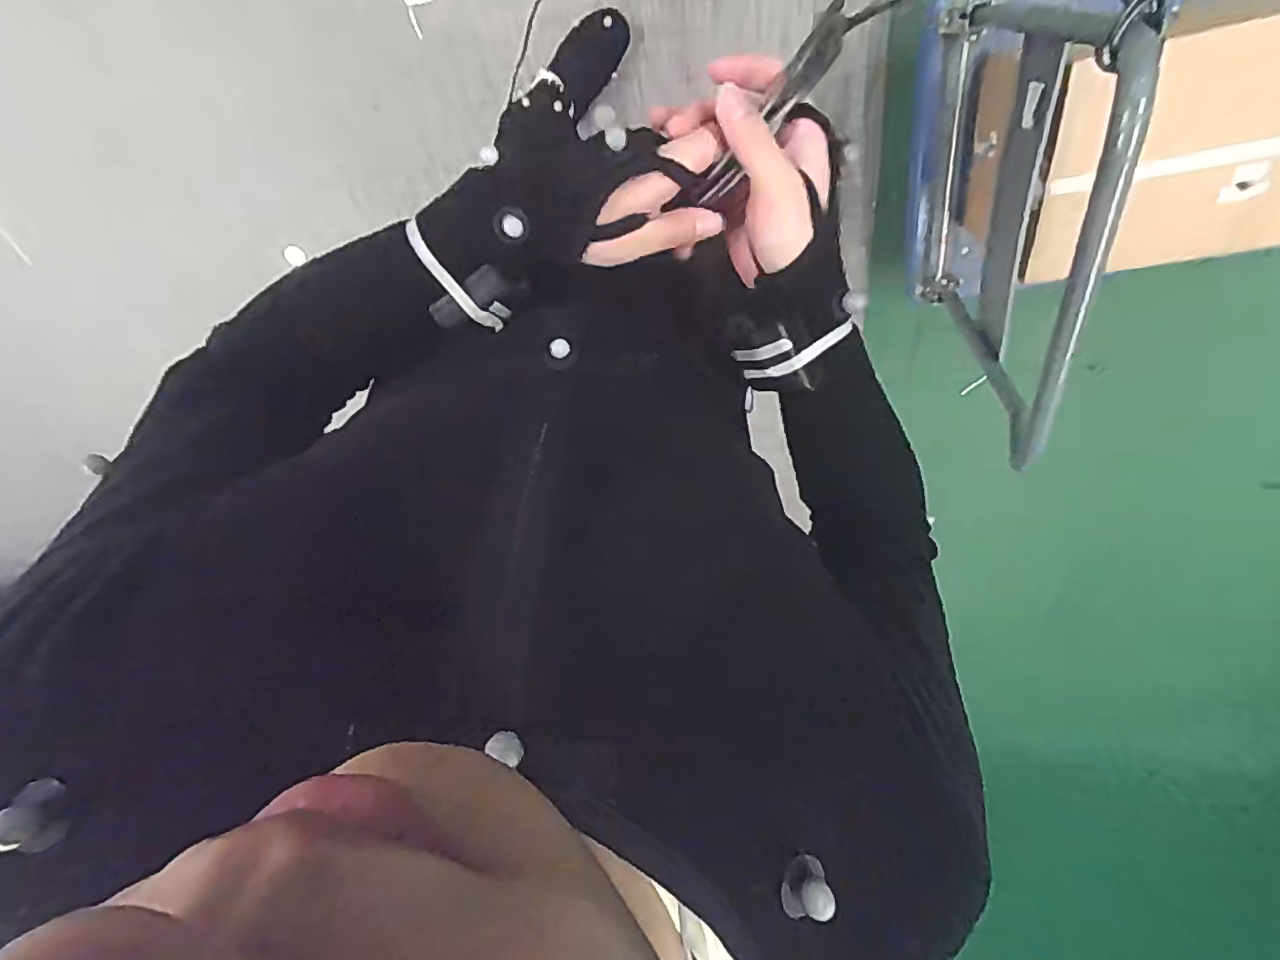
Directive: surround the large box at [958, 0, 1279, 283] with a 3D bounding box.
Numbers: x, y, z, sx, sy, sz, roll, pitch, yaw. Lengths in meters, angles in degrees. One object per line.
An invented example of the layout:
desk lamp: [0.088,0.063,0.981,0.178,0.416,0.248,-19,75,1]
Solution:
large box: [0.817,-0.571,0.909,0.408,0.320,0.320,-6,130,12]
